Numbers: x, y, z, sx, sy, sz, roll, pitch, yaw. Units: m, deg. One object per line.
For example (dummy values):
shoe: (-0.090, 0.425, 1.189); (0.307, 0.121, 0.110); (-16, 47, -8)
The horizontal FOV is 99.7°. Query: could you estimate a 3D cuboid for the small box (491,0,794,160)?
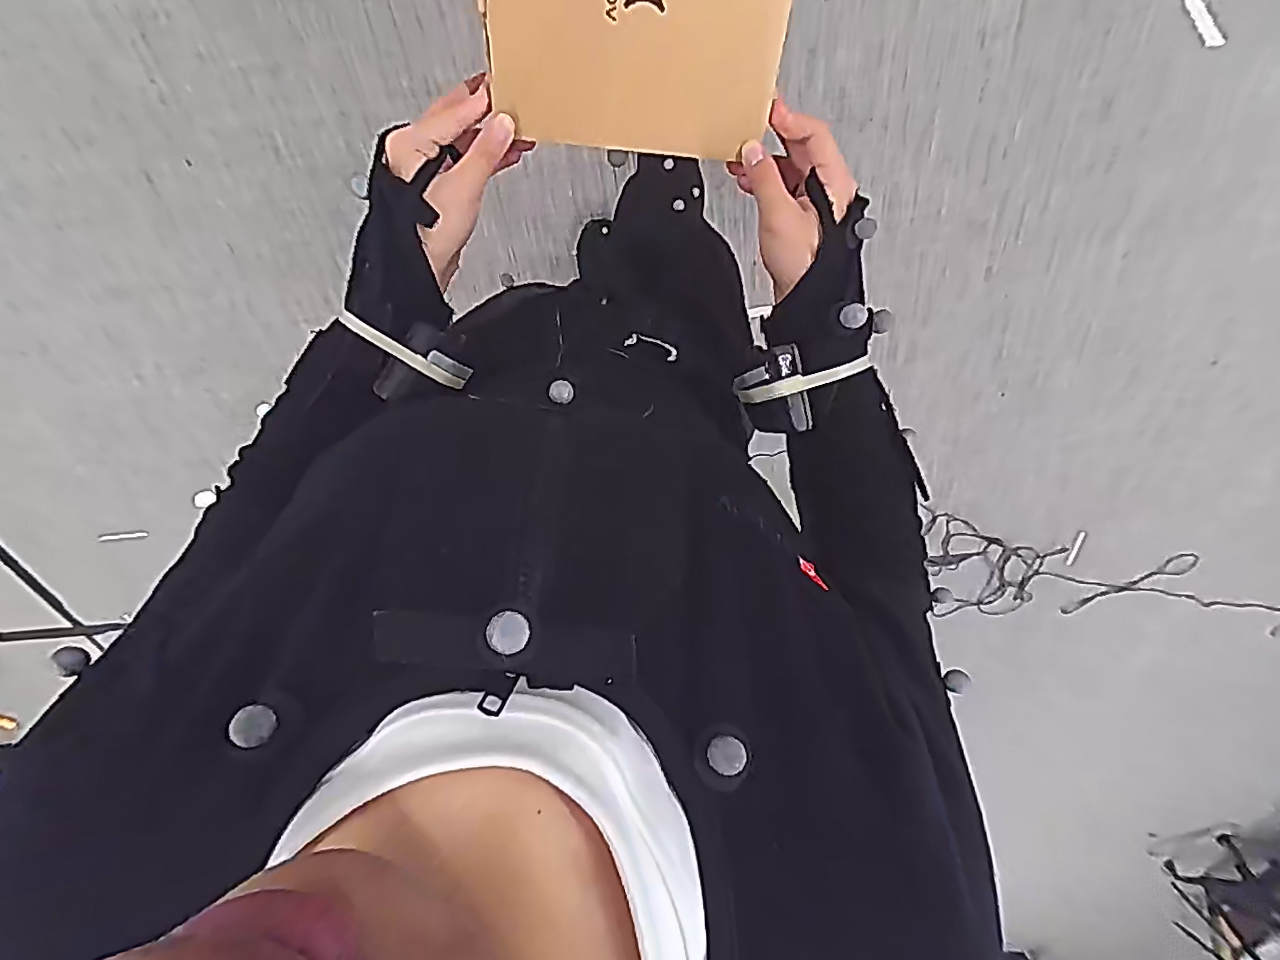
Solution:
small box: (0.004, -0.334, 0.362); (0.179, 0.176, 0.168); (5, 133, -1)
